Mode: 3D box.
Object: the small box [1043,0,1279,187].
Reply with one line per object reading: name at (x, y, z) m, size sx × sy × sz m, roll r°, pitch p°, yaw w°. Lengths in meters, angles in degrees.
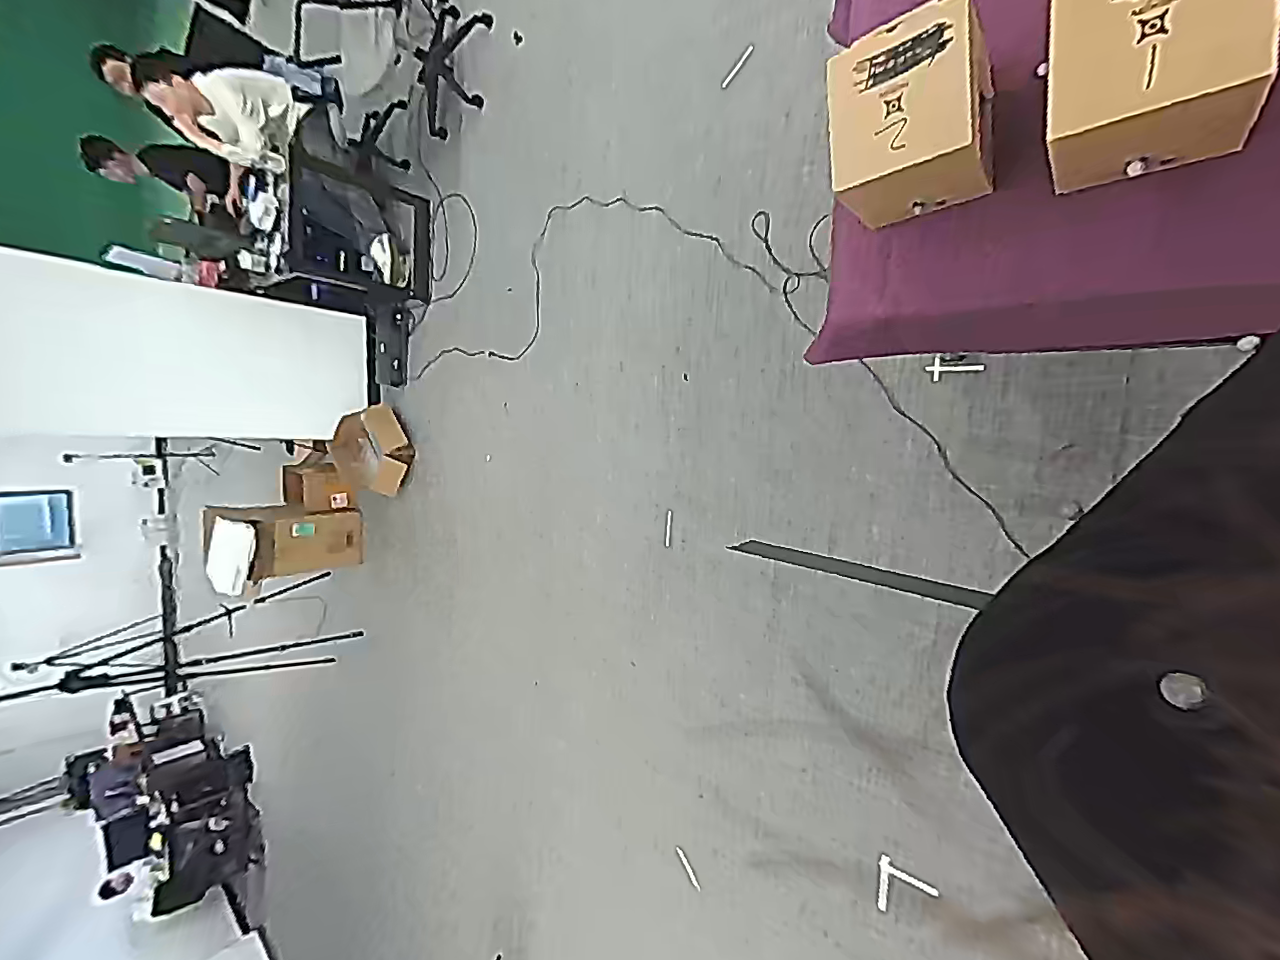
small box at (0.543, -0.450, 0.577) m, size 0.168 × 0.176 × 0.179 m, roll 3°, pitch 96°, yaw 41°
